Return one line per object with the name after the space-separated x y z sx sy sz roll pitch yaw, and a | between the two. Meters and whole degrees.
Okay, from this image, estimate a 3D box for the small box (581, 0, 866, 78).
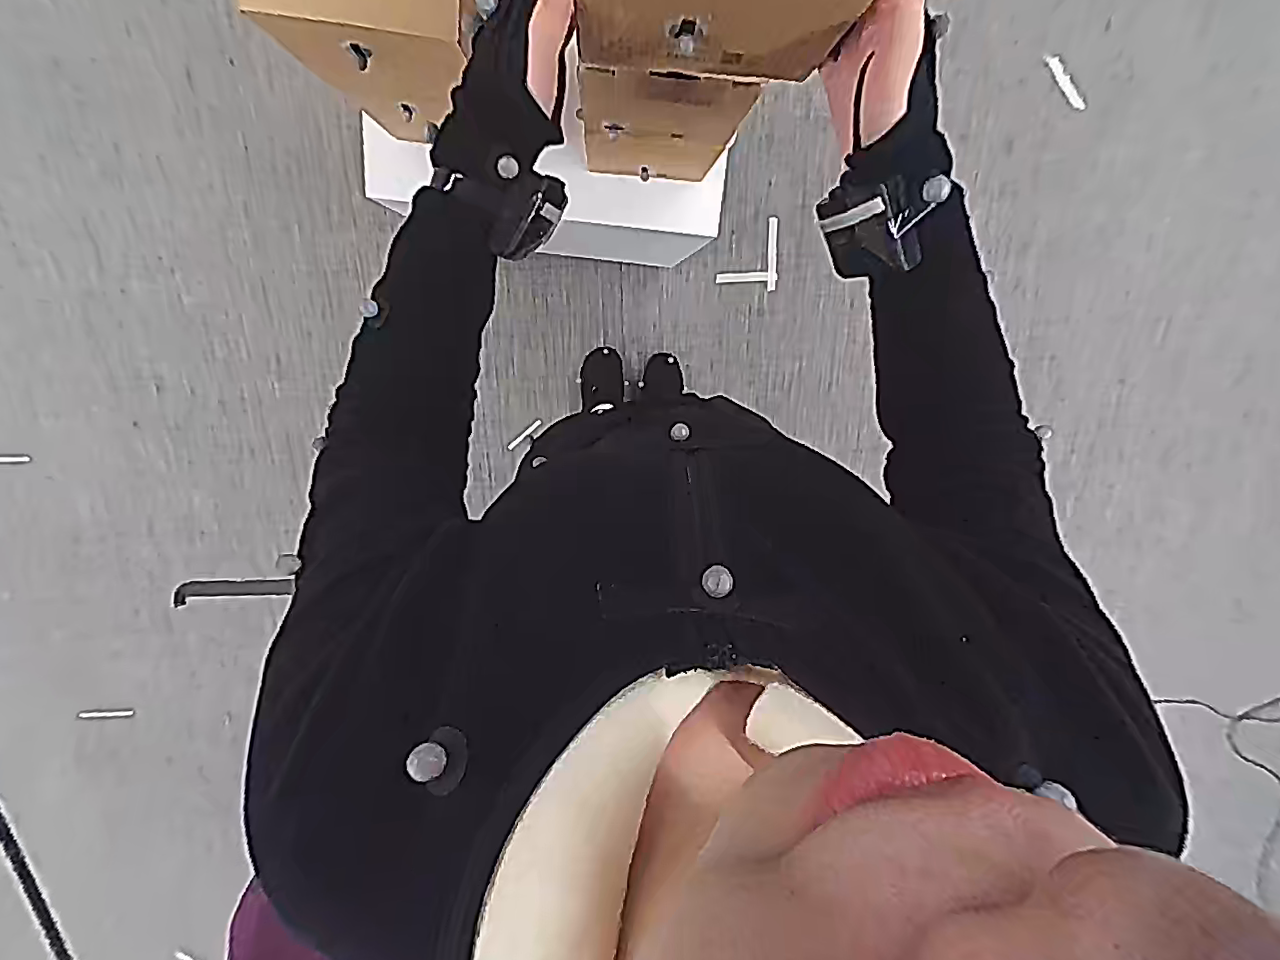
0.048 -0.354 0.285 0.168 0.176 0.179 1 108 -4 | small box

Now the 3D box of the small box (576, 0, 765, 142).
0.030 -0.446 0.515 0.168 0.176 0.179 3 106 -4 | small box

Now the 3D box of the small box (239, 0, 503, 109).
-0.229 -0.465 0.490 0.179 0.176 0.168 5 108 -6 | small box

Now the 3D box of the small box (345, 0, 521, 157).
-0.239 -0.517 0.646 0.168 0.176 0.179 5 106 -5 | small box
